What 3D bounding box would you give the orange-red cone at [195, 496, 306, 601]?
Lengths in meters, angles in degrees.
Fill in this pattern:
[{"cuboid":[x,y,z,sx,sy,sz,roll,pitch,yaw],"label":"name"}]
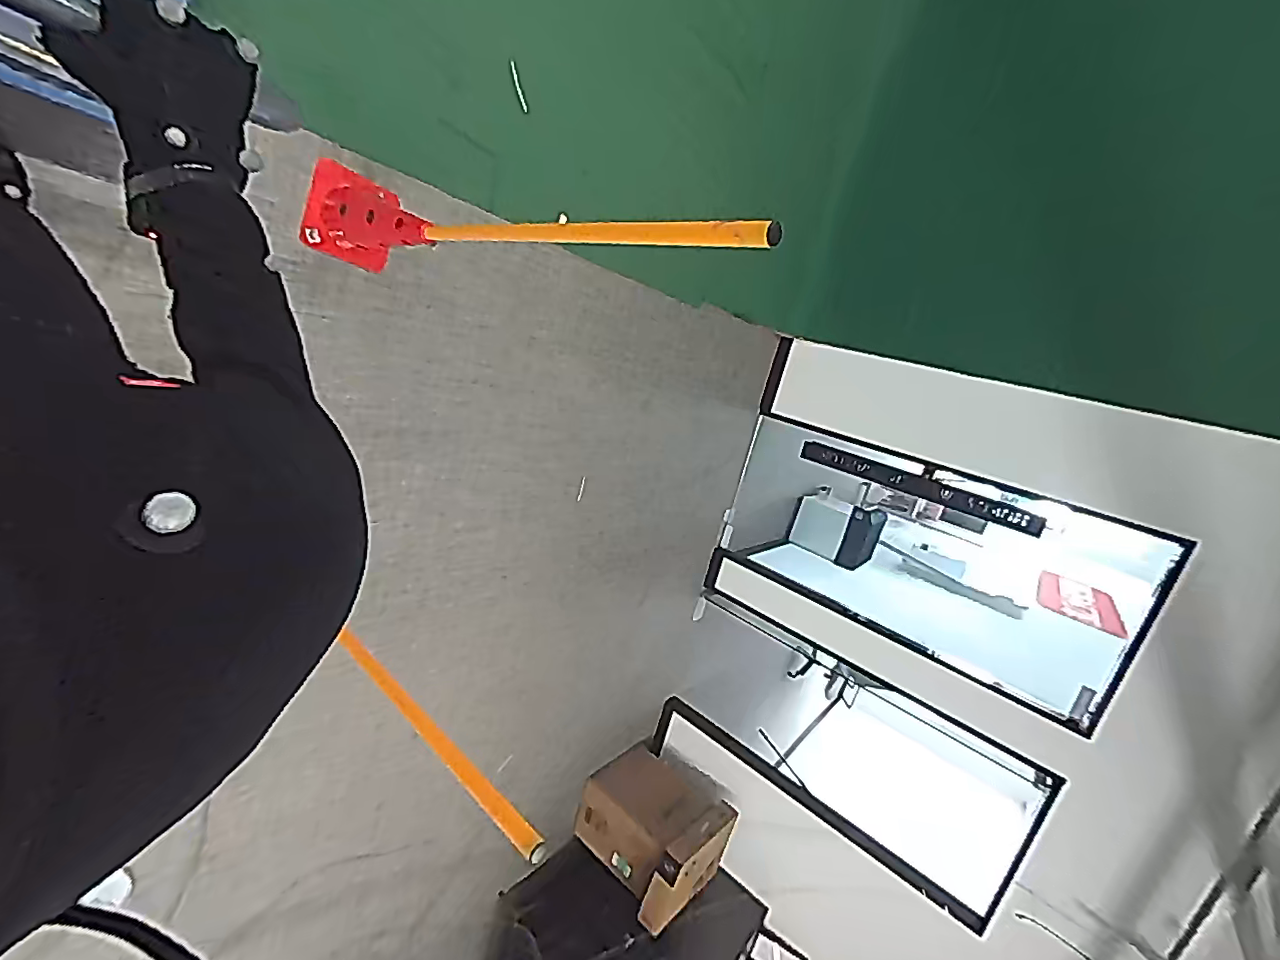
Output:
[{"cuboid":[-0.887,0.192,1.288,0.199,0.360,0.198,0,110,-52],"label":"orange-red cone"}]
